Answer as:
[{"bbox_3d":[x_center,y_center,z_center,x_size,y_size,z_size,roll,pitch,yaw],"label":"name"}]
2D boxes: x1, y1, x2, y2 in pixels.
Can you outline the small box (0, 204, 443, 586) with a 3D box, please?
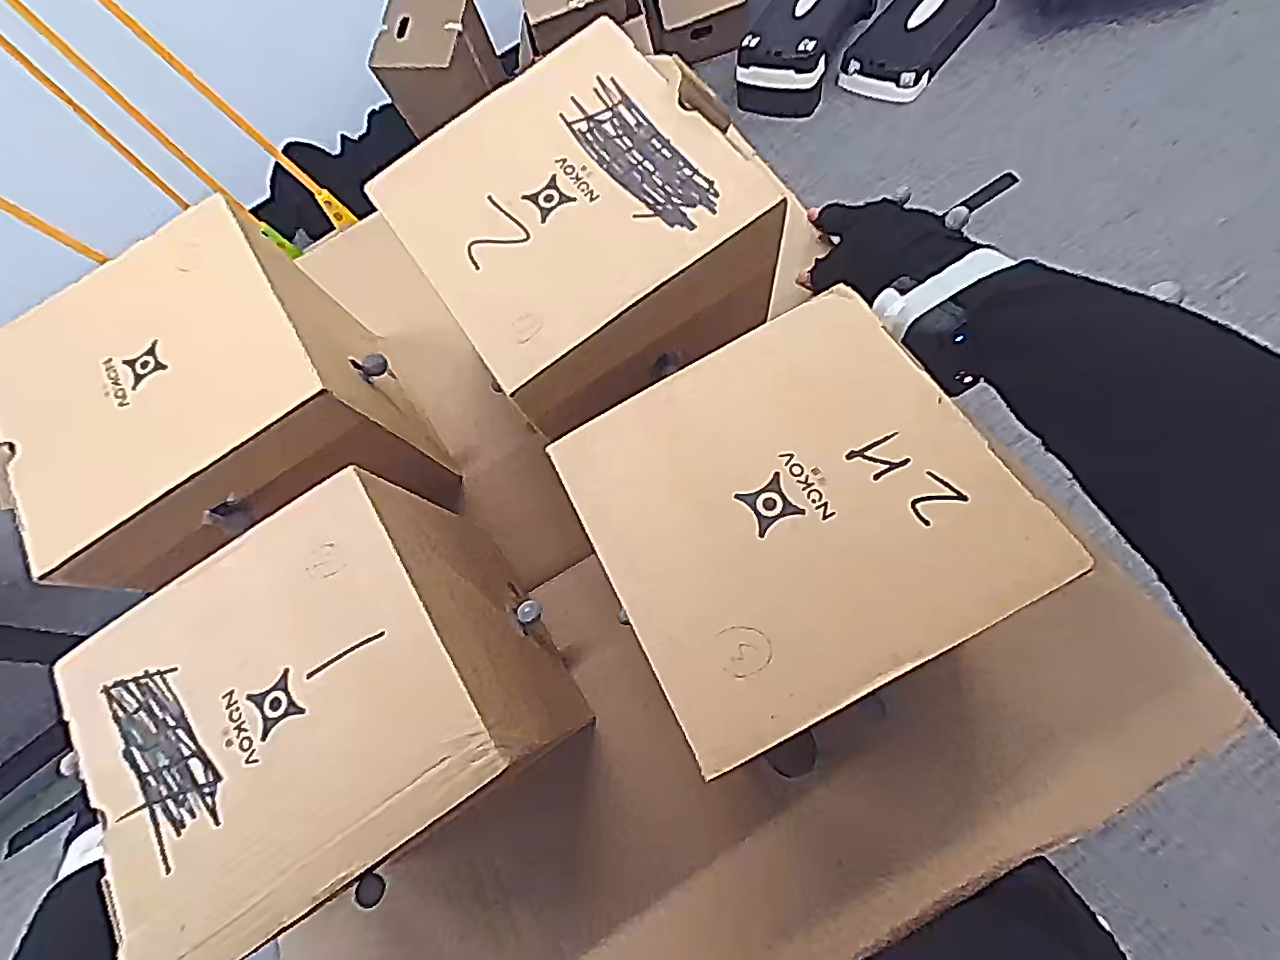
[{"bbox_3d":[-0.269,-0.042,0.387,0.179,0.176,0.168,-35,72,-2],"label":"small box"}]
